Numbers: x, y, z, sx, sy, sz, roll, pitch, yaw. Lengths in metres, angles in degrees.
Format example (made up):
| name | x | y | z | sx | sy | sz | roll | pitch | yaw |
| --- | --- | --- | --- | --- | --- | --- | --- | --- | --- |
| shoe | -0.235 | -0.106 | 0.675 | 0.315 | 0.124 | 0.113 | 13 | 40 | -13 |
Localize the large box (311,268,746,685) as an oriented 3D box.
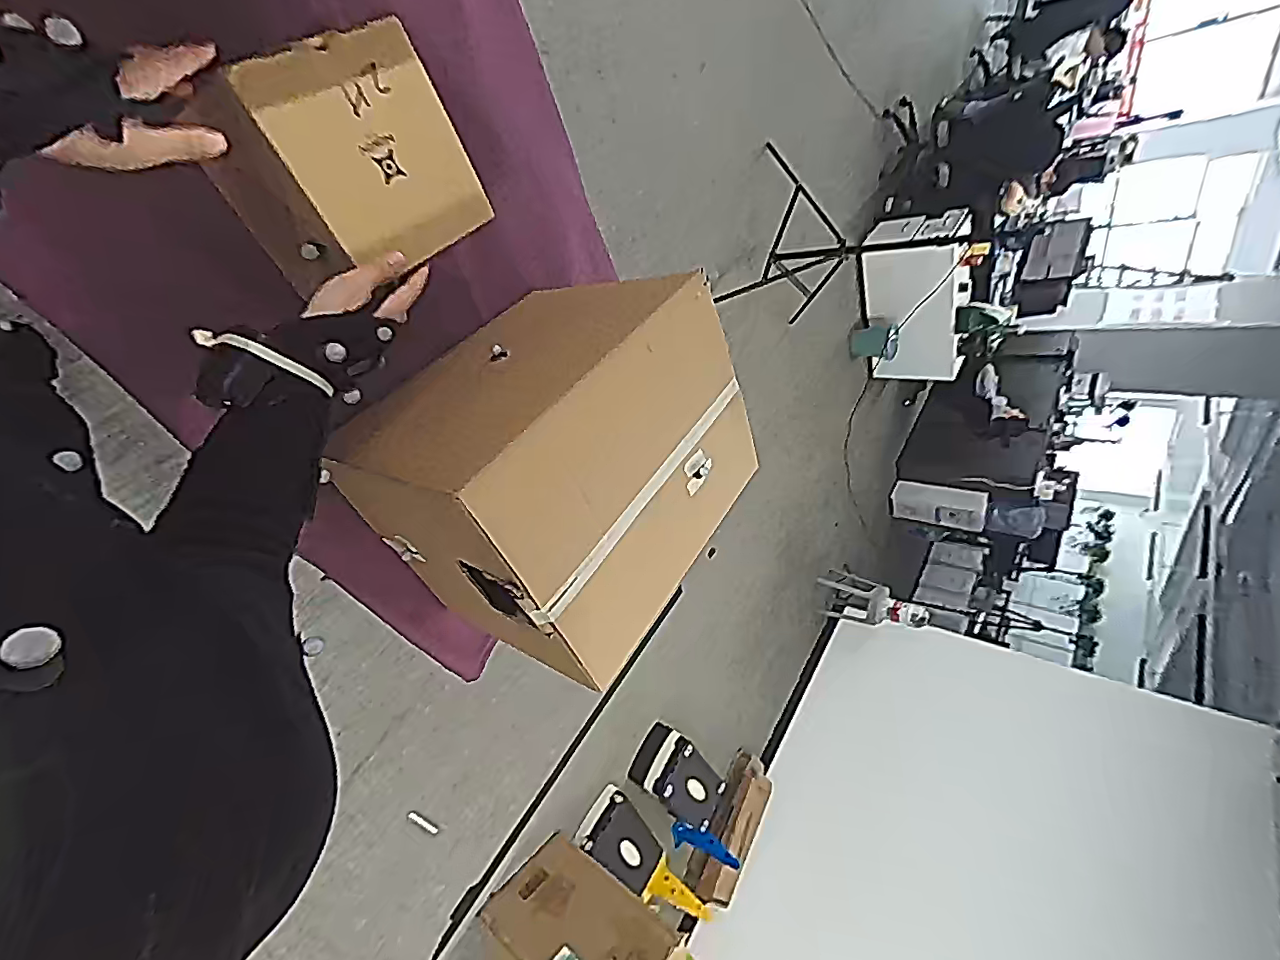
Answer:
| name | x | y | z | sx | sy | sz | roll | pitch | yaw |
| --- | --- | --- | --- | --- | --- | --- | --- | --- | --- |
| large box | -0.112 | -0.028 | 0.713 | 0.408 | 0.320 | 0.320 | -51 | 135 | -32 |
